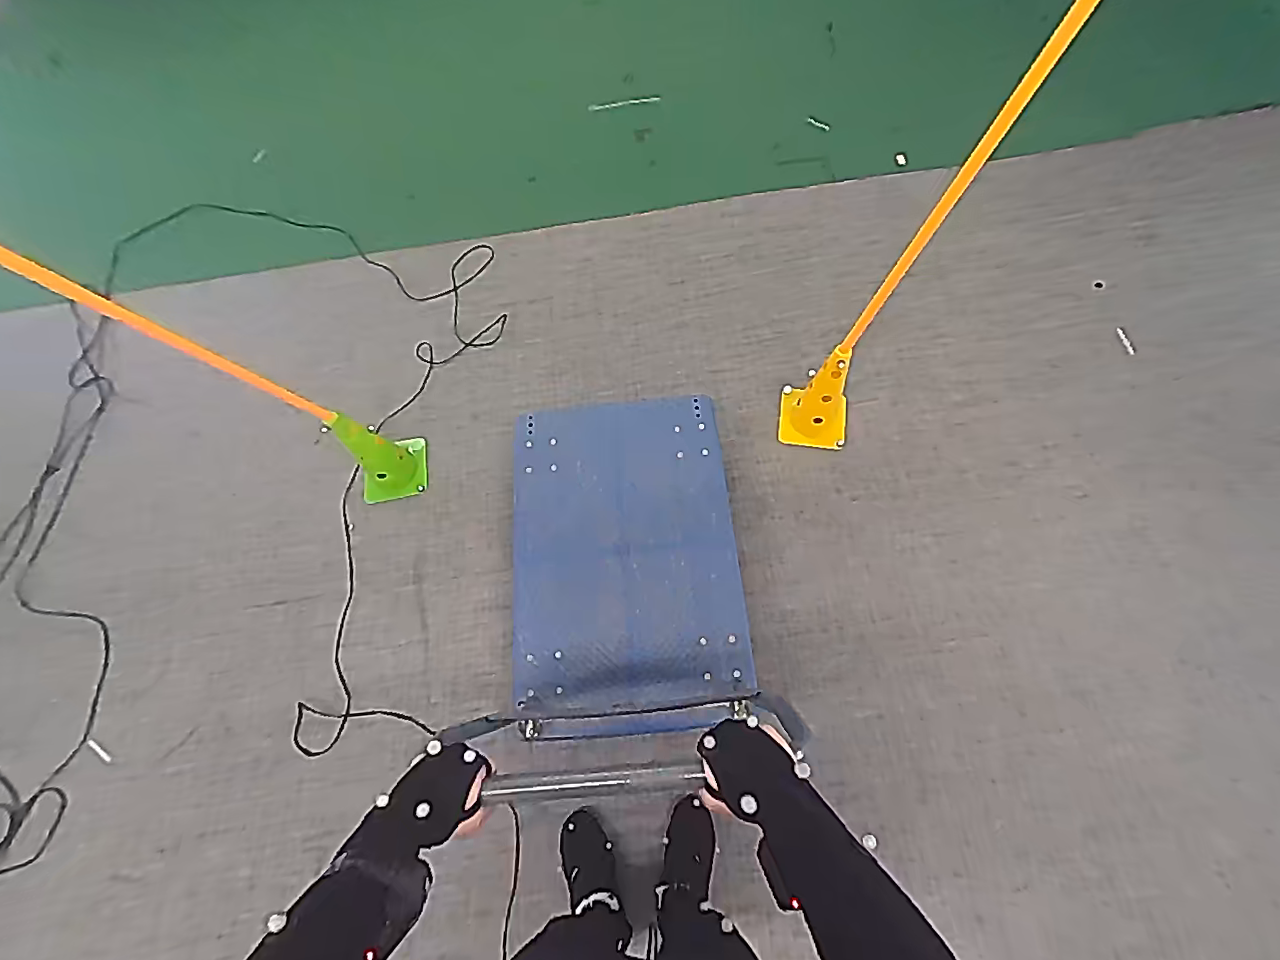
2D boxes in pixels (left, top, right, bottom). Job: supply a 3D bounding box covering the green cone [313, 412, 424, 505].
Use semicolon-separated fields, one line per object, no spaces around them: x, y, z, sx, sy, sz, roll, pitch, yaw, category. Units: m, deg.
-0.800;-0.095;1.556;0.202;0.368;0.200;-13;67;1;green cone
